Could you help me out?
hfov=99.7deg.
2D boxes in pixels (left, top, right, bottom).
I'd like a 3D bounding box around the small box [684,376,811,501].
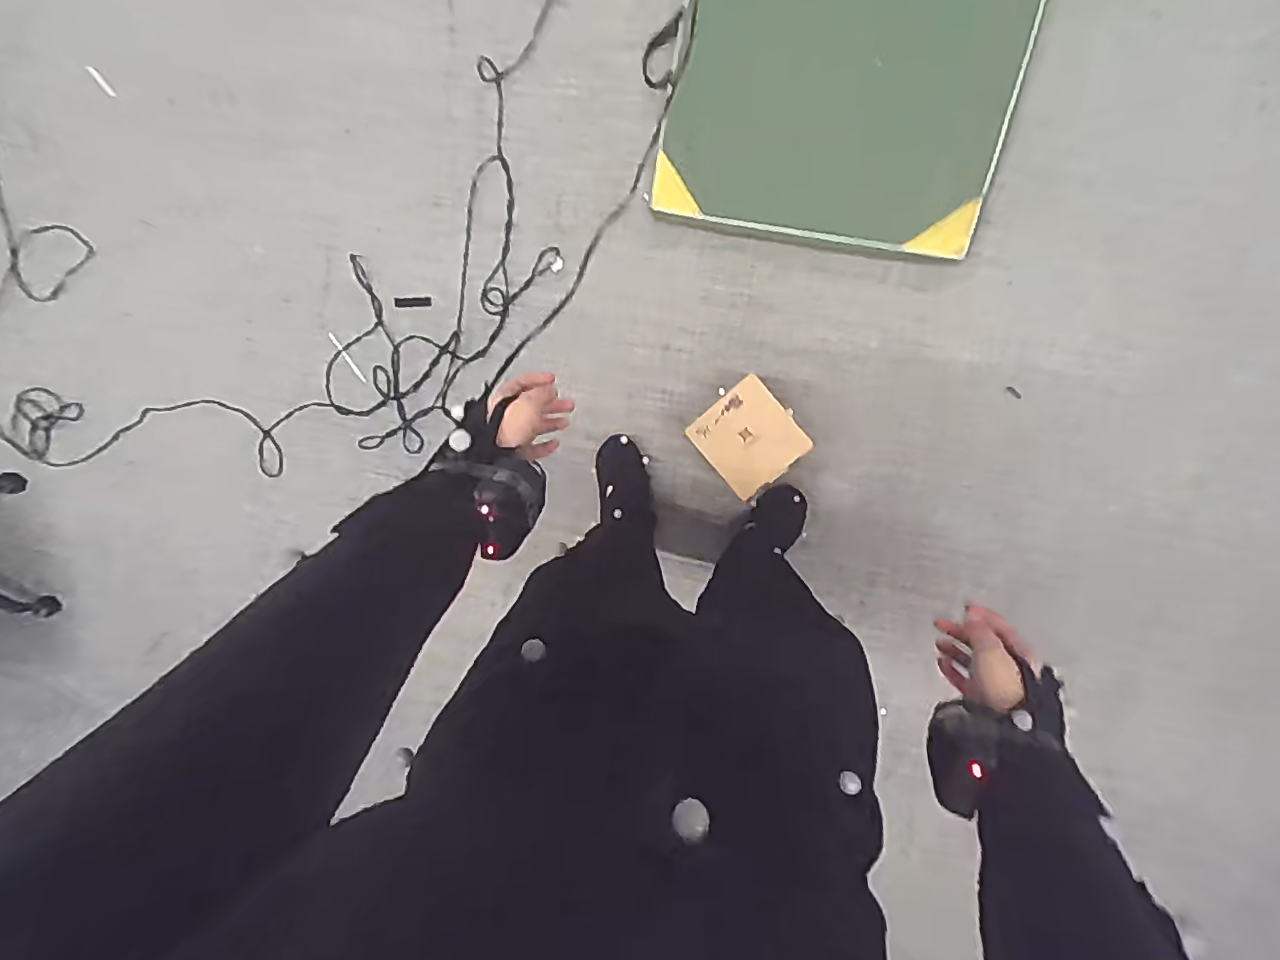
[{"bbox_3d":[0.210,-0.088,1.068,0.168,0.176,0.179,-40,90,13],"label":"small box"}]
